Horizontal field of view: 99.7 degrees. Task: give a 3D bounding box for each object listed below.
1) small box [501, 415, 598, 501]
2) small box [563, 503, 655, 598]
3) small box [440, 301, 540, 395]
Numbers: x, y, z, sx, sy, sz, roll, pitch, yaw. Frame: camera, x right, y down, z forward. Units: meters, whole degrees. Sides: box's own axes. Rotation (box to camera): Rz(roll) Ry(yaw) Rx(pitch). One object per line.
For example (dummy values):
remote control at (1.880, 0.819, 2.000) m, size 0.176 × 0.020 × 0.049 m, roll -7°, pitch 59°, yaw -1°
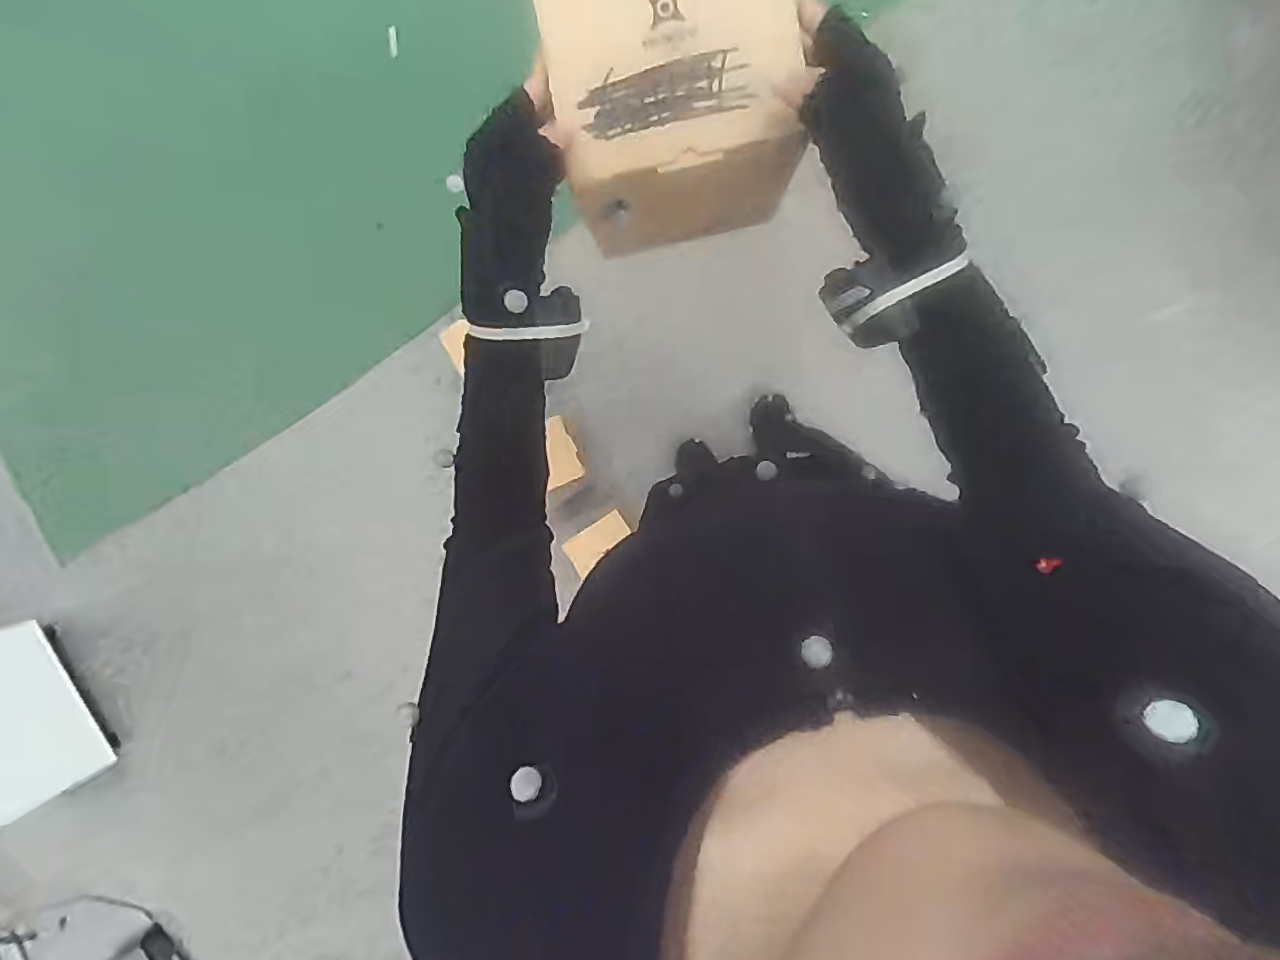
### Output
small box at (-0.232, -0.058, 1.429) m, size 0.179 × 0.176 × 0.168 m, roll -25°, pitch 91°, yaw 7°
small box at (-0.073, 0.180, 1.429) m, size 0.179 × 0.176 × 0.168 m, roll -34°, pitch 92°, yaw 6°
small box at (-0.382, -0.339, 1.424) m, size 0.179 × 0.176 × 0.168 m, roll -30°, pitch 90°, yaw 8°
